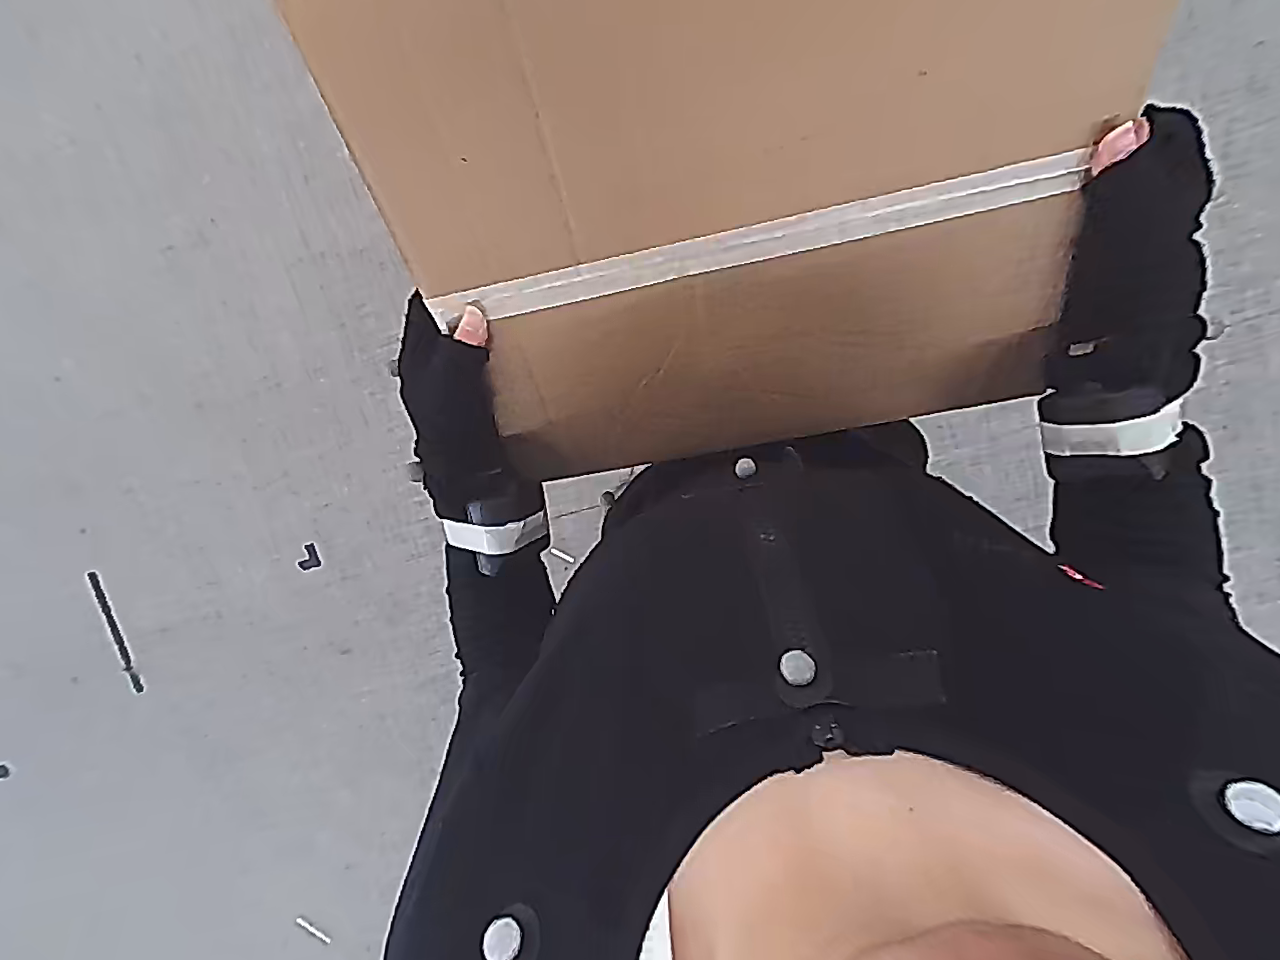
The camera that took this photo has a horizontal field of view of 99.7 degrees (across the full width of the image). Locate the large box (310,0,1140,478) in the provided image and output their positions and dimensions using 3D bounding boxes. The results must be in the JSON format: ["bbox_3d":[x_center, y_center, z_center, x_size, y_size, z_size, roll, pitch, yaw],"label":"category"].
[{"bbox_3d":[0.059,-0.246,0.443,0.408,0.320,0.320,-10,132,7],"label":"large box"}]
